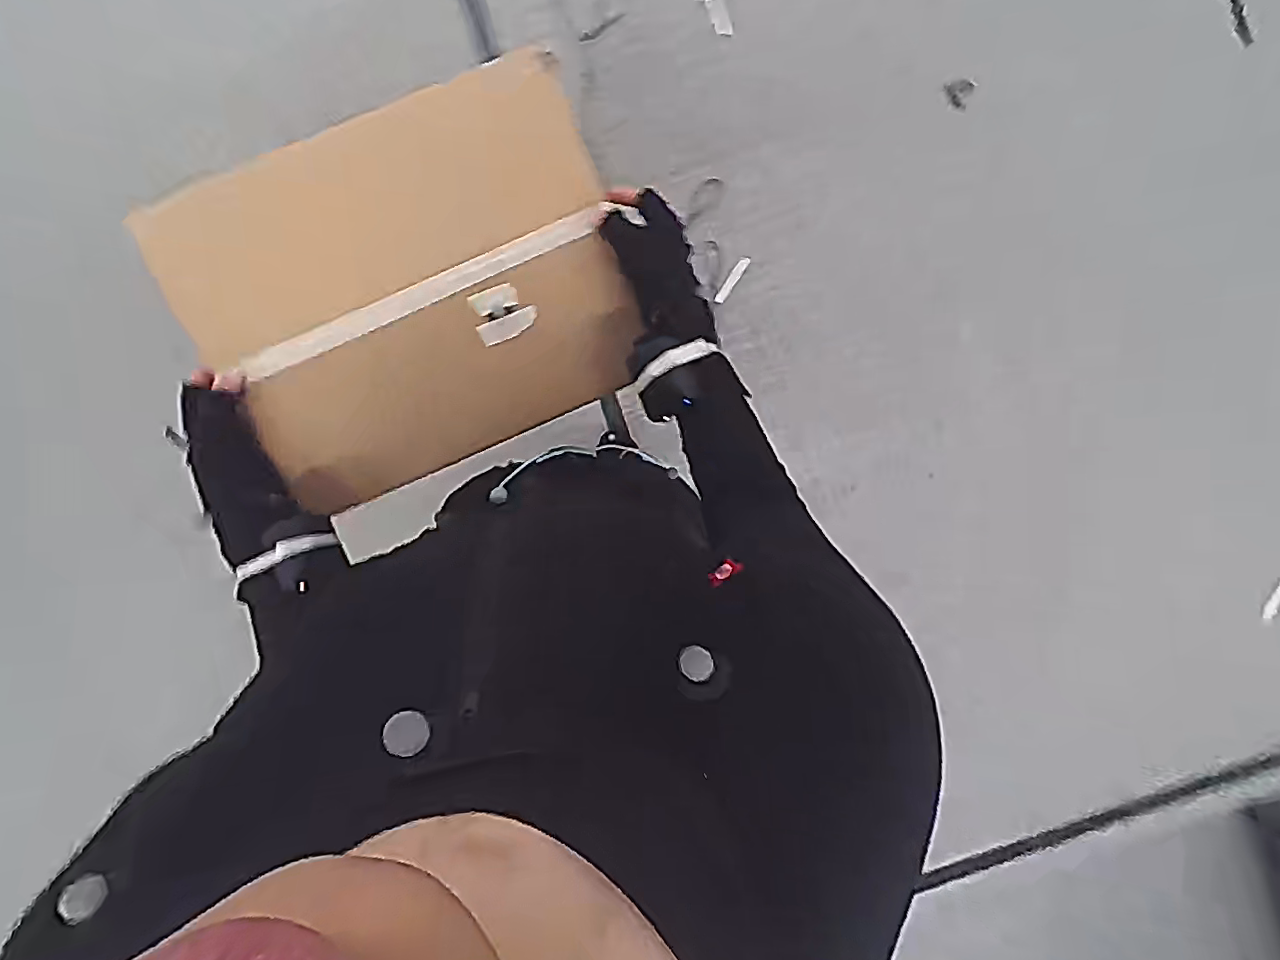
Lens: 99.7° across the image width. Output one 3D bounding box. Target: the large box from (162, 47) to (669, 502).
[{"bbox_3d":[-0.222,-0.216,0.677,0.408,0.320,0.320,-24,103,-1],"label":"large box"}]
